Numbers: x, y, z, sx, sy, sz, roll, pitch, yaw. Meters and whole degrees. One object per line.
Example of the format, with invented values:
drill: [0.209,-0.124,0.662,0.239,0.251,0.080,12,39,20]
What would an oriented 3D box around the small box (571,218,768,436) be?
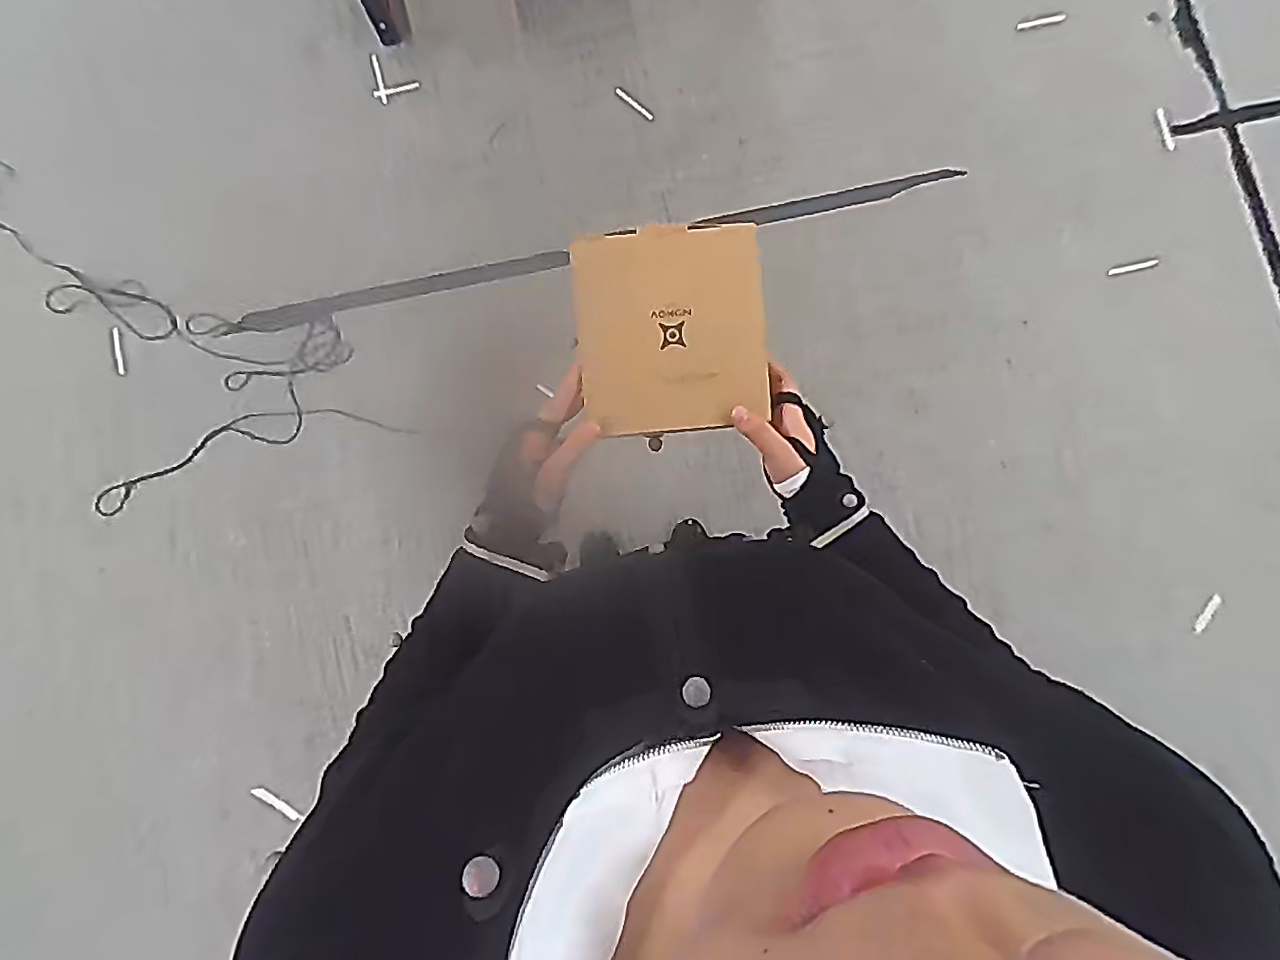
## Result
small box: [0.022,-0.141,0.552,0.168,0.176,0.179,-5,94,-2]
